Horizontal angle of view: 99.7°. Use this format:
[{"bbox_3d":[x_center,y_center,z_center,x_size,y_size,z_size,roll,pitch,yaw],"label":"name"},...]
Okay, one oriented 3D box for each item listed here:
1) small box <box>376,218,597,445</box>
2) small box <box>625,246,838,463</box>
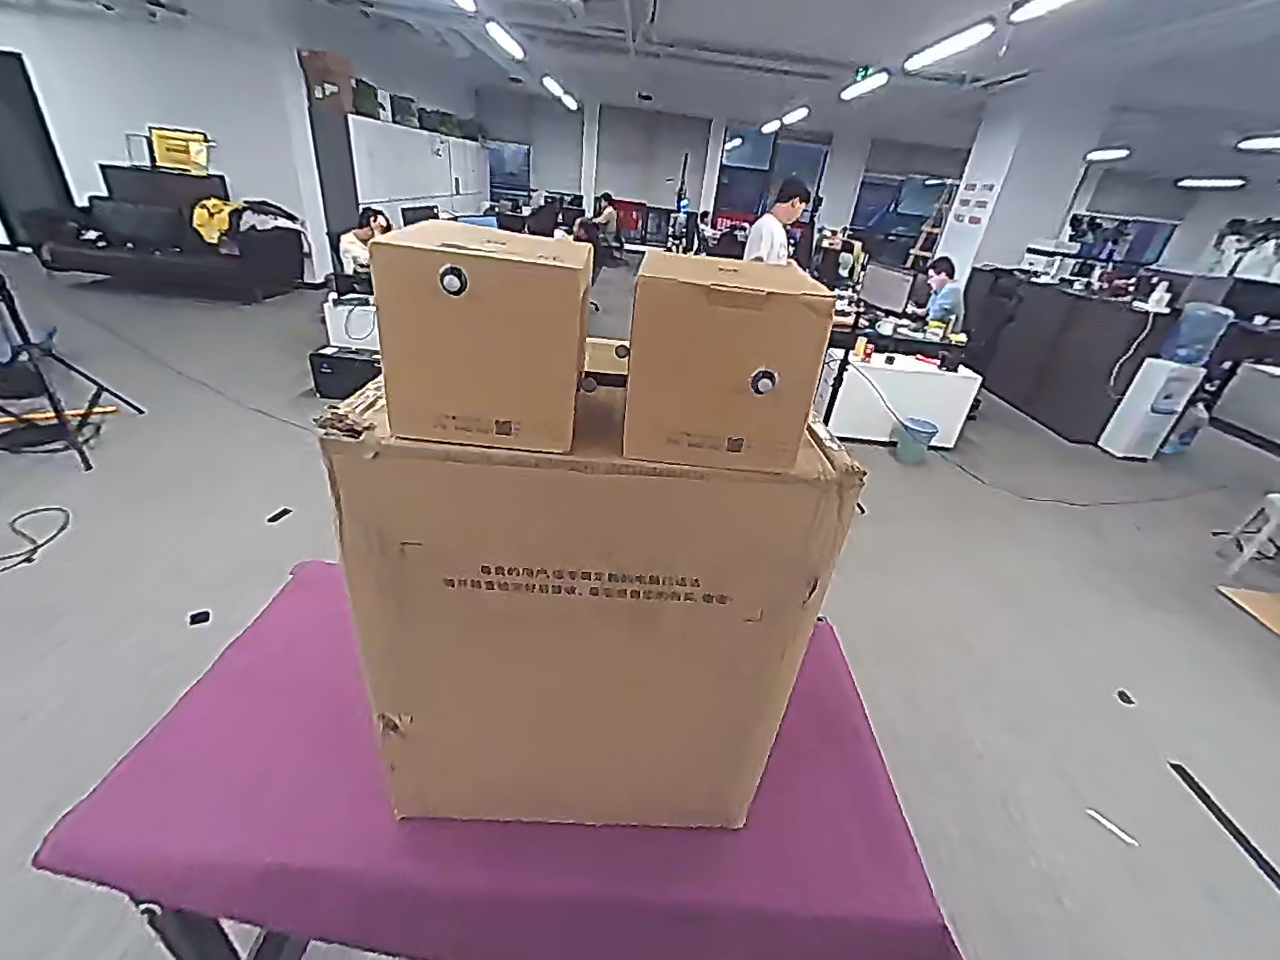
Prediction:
[{"bbox_3d":[-0.134,-0.150,0.527,0.168,0.176,0.179,5,28,-4],"label":"small box"},{"bbox_3d":[0.076,-0.130,0.543,0.168,0.176,0.179,6,28,-1],"label":"small box"}]
